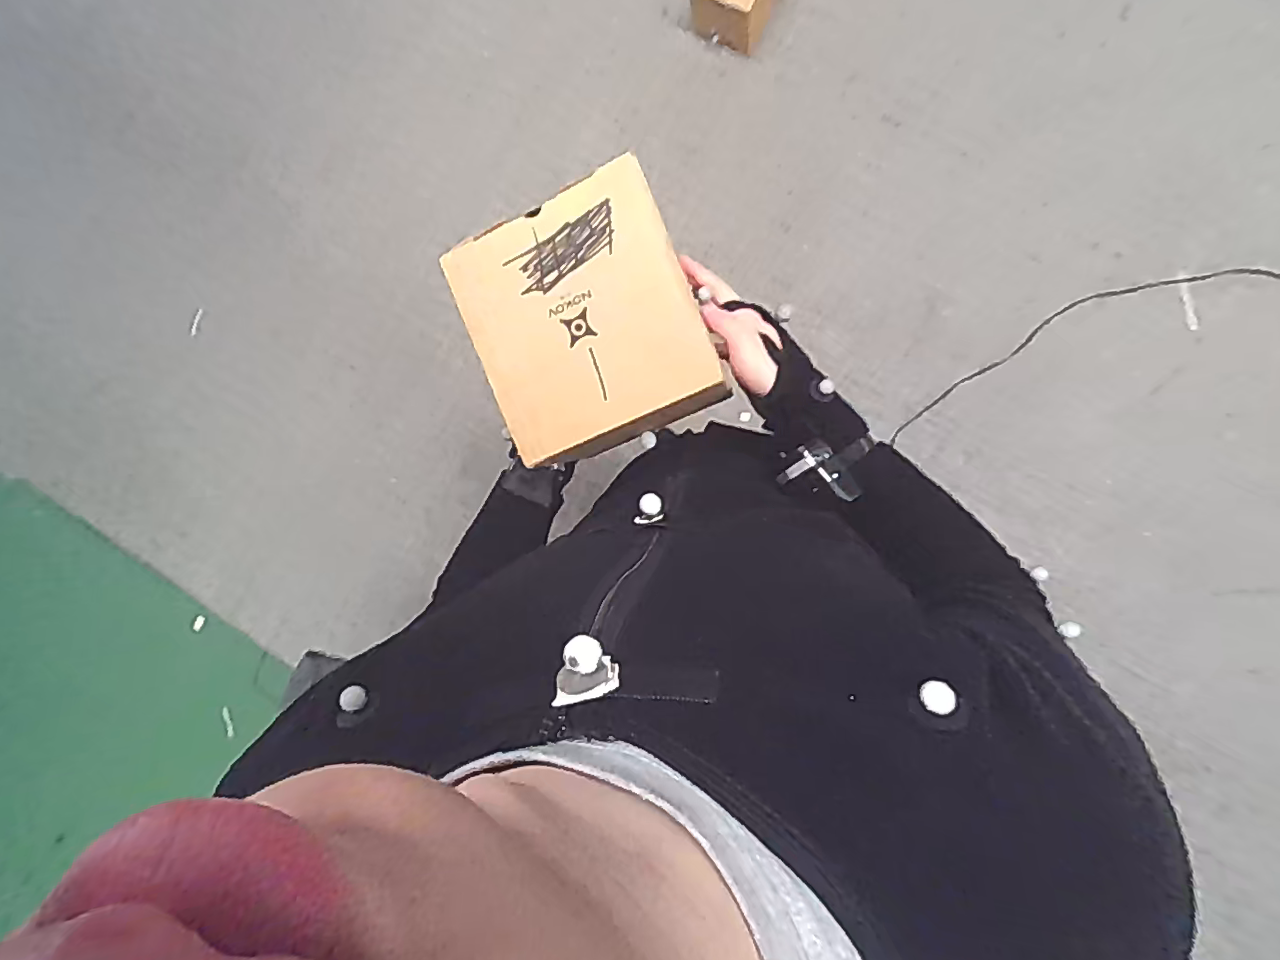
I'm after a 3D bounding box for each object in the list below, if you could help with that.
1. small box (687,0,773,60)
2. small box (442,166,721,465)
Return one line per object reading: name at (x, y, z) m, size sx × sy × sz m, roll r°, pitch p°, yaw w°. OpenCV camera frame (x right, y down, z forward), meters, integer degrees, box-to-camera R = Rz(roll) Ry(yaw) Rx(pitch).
small box at (0.222, -1.185, 1.312) m, size 0.168 × 0.176 × 0.179 m, roll 29°, pitch 102°, yaw 7°
small box at (-0.035, -0.124, 0.479) m, size 0.168 × 0.176 × 0.179 m, roll -21°, pitch 92°, yaw 12°
